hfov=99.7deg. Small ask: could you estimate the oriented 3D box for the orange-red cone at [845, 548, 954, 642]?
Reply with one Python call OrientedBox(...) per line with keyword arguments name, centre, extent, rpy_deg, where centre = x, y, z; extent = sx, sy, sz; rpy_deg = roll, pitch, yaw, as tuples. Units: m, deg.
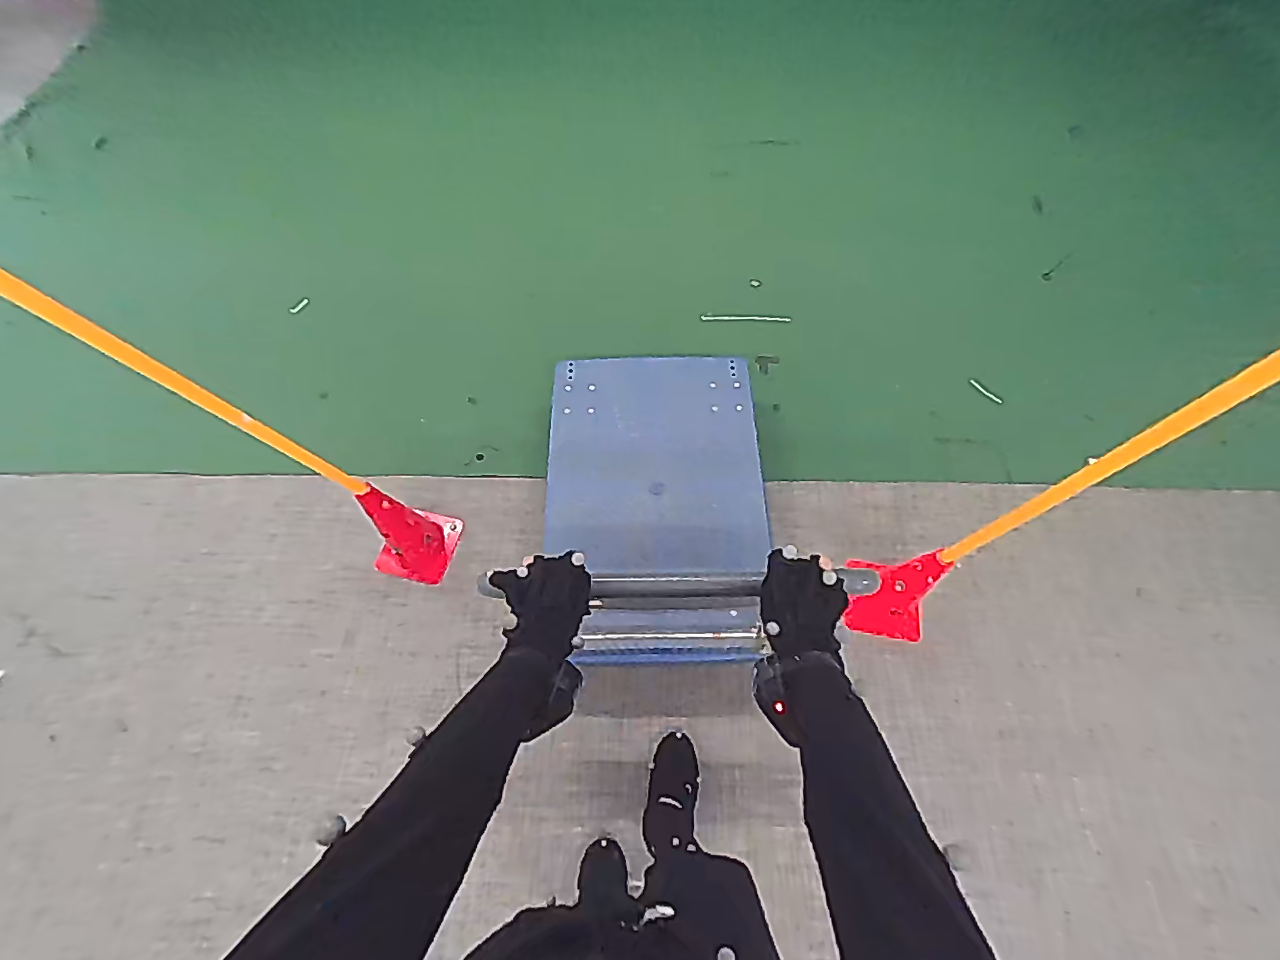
OrientedBox(name="orange-red cone", centre=(0.654, 0.245, 1.305), extent=(0.198, 0.360, 0.199), rpy_deg=(11, 64, 7))
